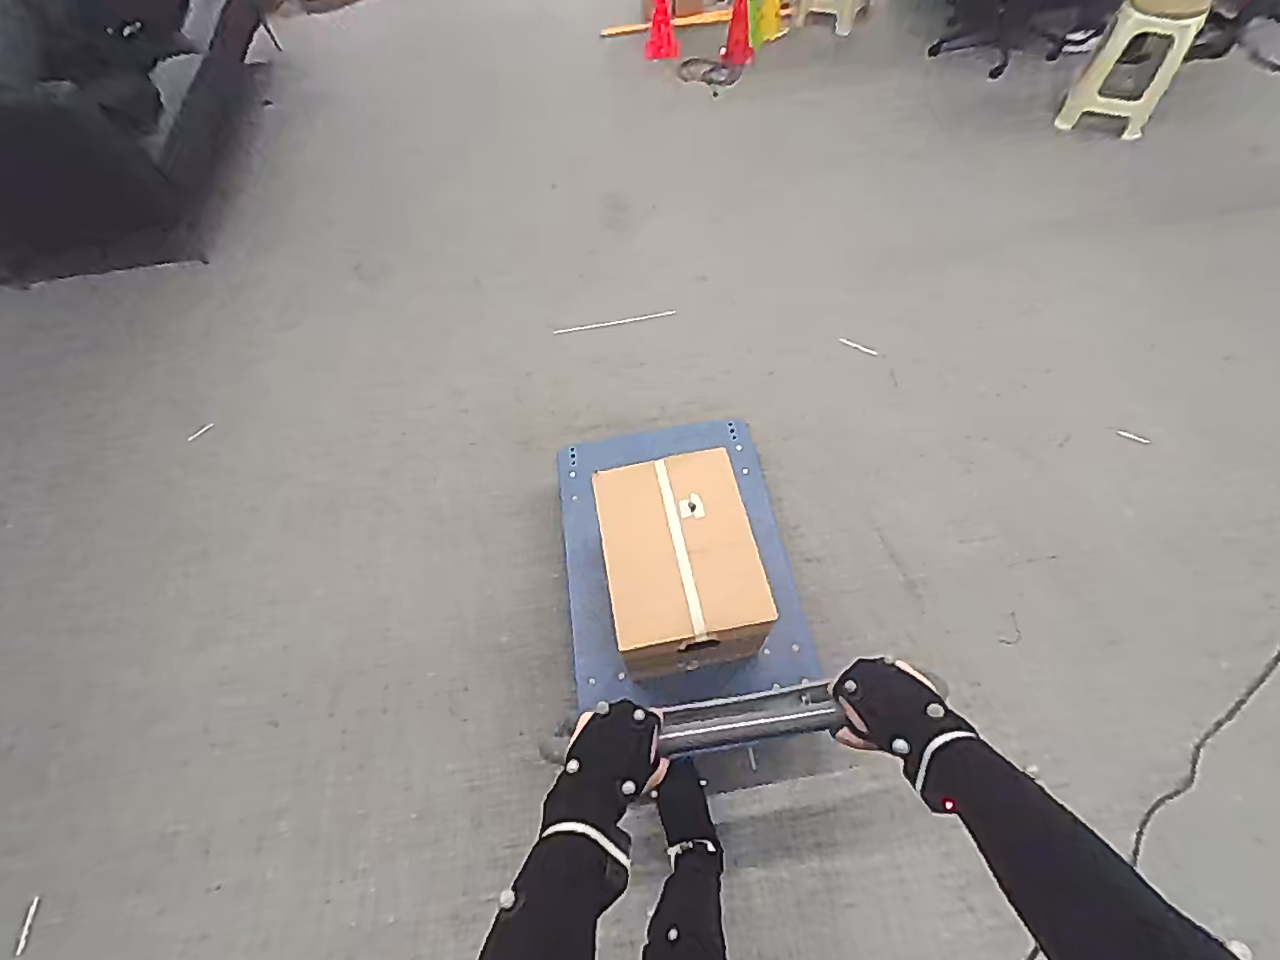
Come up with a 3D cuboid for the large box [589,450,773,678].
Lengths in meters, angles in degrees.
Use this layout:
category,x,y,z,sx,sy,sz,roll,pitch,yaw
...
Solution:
category,x,y,z,sx,sy,sz,roll,pitch,yaw
large box,0.083,0.203,1.264,0.320,0.320,0.408,-11,60,-2
